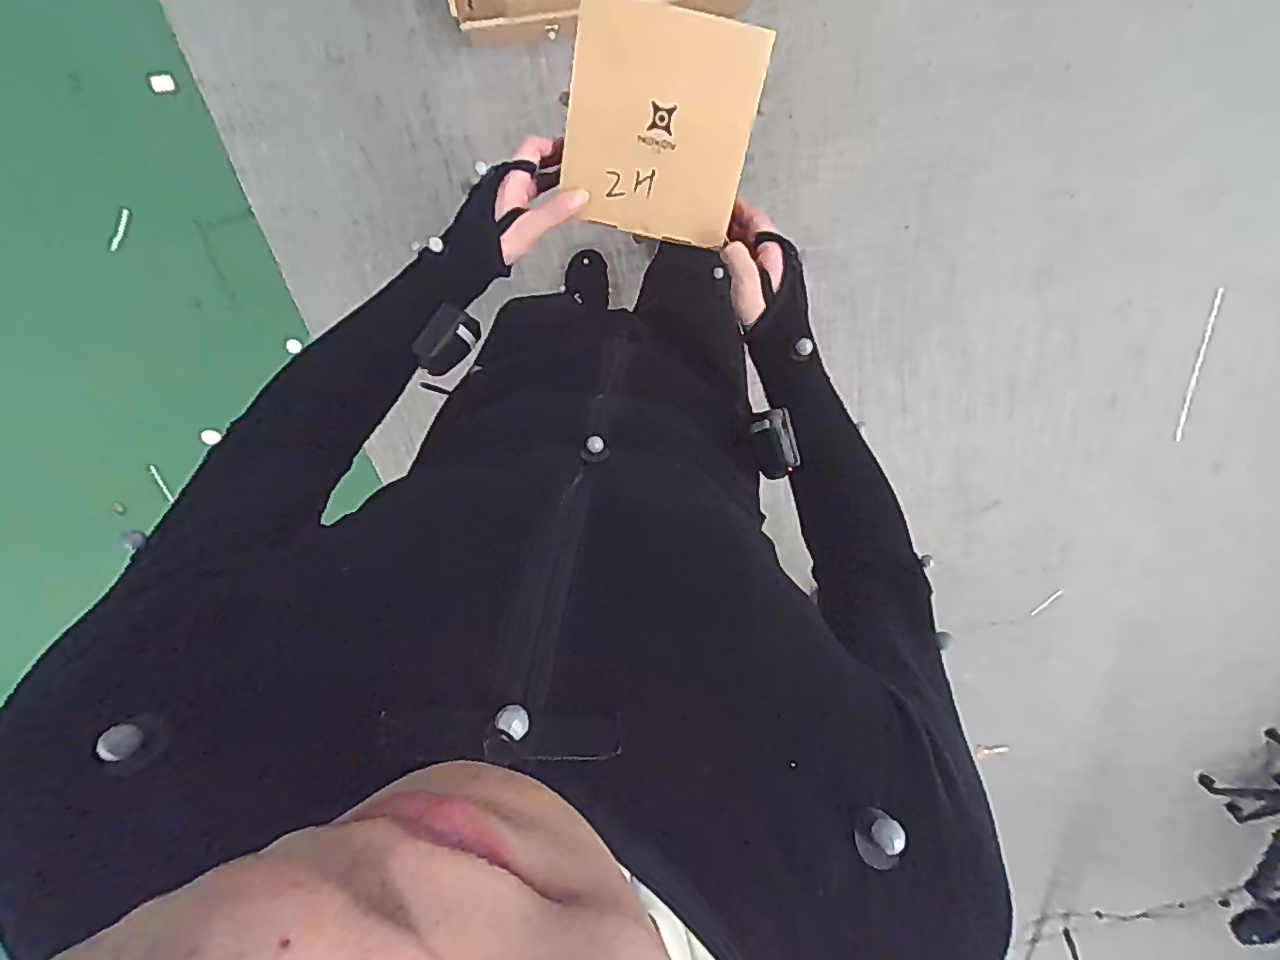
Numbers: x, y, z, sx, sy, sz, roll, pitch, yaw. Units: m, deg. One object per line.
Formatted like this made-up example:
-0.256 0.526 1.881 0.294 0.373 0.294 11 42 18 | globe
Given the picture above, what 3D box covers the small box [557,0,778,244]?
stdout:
0.019 -0.353 0.546 0.168 0.176 0.179 11 117 -4 | small box
